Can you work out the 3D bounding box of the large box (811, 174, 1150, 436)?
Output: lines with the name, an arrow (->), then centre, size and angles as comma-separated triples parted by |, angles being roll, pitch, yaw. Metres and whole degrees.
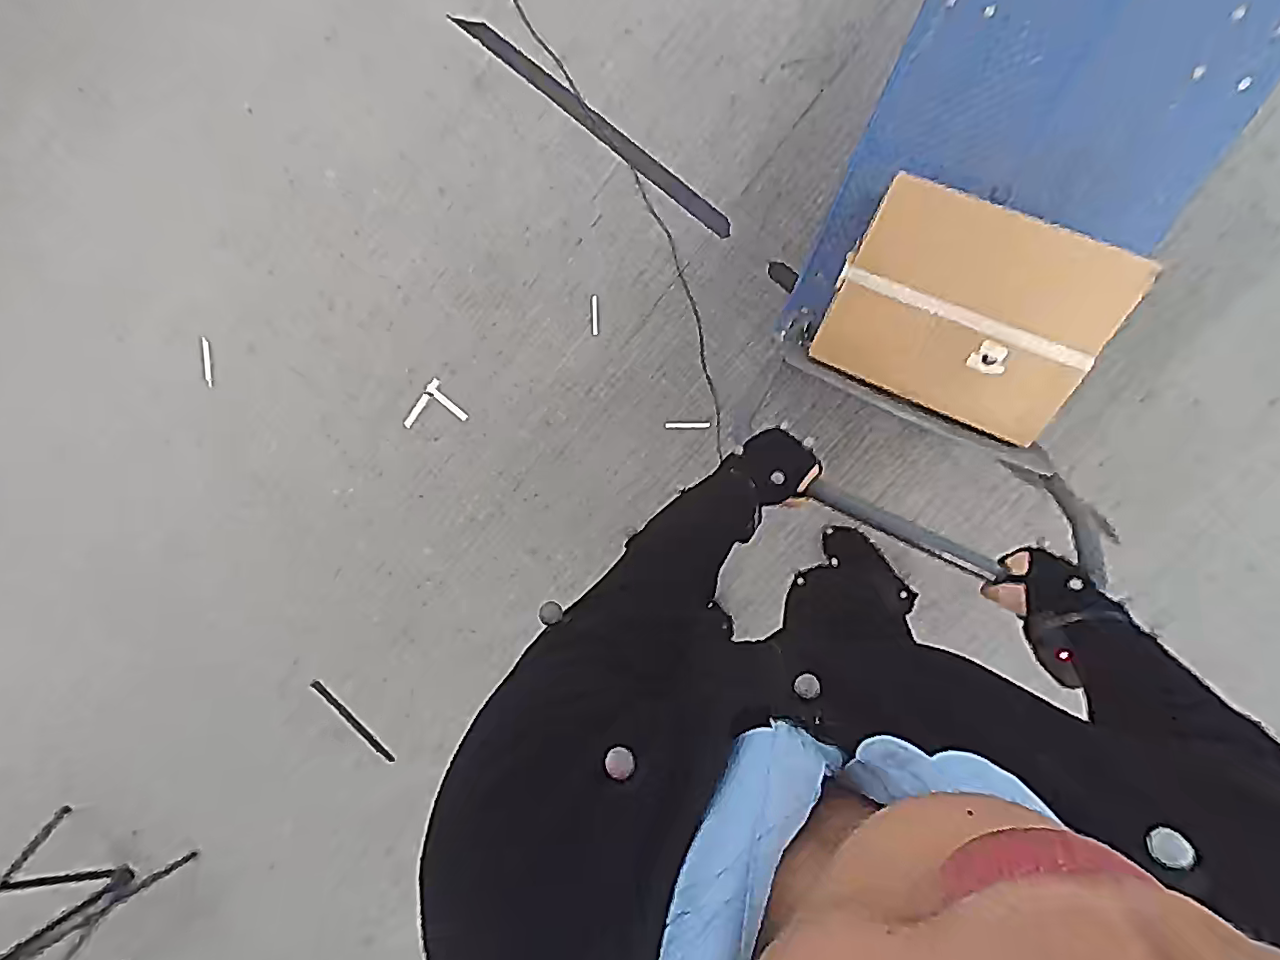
large box -> 0.583, -0.335, 1.032 | 0.408, 0.320, 0.320 | 26, 118, 9
